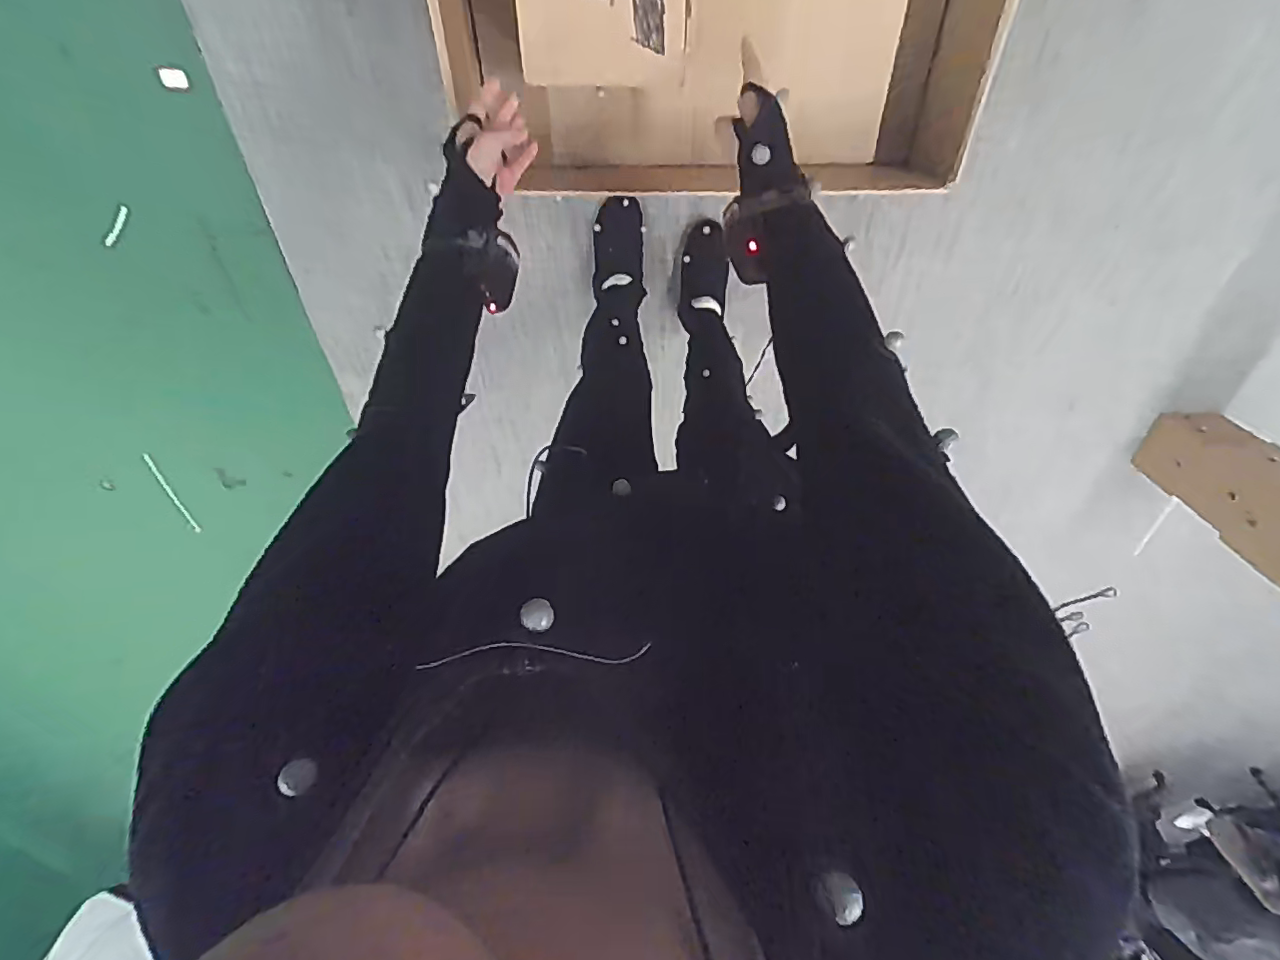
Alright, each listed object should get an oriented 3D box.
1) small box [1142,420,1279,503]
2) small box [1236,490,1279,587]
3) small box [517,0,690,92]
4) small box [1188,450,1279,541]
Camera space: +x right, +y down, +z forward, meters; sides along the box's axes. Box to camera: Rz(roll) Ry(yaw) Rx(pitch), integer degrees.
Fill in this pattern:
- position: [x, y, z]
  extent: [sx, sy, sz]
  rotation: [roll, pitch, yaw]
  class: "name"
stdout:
- position: [1.570, -0.056, 1.505]
  extent: [0.168, 0.176, 0.179]
  rotation: [-2, 128, 2]
  class: "small box"
- position: [1.554, 0.137, 1.241]
  extent: [0.168, 0.176, 0.179]
  rotation: [-3, 128, 3]
  class: "small box"
- position: [-0.037, -0.536, 0.596]
  extent: [0.179, 0.176, 0.168]
  rotation: [1, 128, -1]
  class: "small box"
- position: [1.570, 0.035, 1.368]
  extent: [0.168, 0.176, 0.179]
  rotation: [-1, 127, 3]
  class: "small box"
